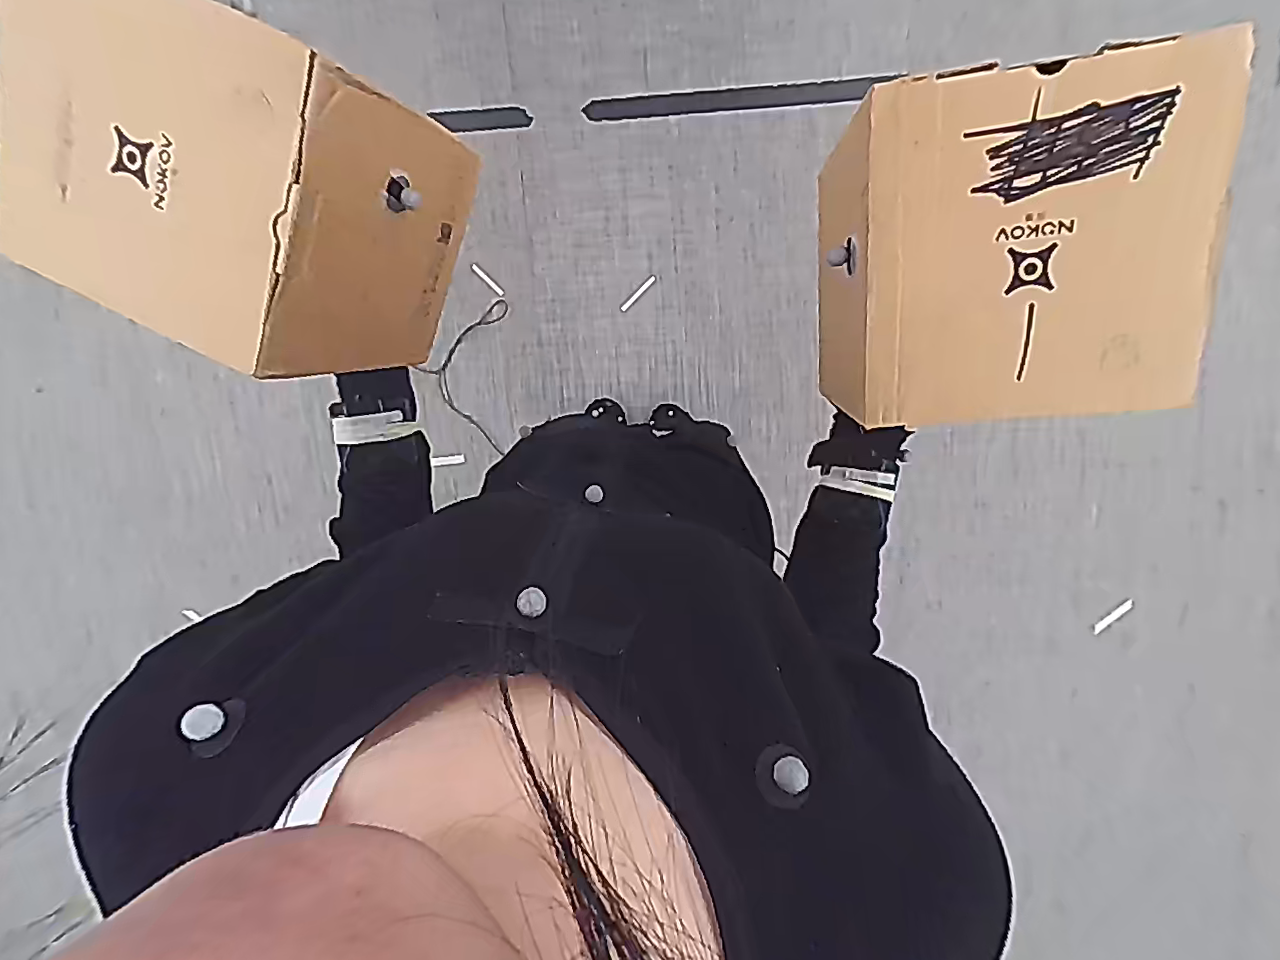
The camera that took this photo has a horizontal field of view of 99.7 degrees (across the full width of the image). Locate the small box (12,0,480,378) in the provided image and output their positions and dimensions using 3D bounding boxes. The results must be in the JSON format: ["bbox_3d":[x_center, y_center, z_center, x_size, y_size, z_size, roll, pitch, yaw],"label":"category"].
[{"bbox_3d":[-0.234,-0.183,0.355,0.179,0.176,0.168,26,108,4],"label":"small box"}]

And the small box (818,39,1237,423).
[{"bbox_3d":[0.216,-0.140,0.361,0.168,0.176,0.179,-2,106,10],"label":"small box"}]
